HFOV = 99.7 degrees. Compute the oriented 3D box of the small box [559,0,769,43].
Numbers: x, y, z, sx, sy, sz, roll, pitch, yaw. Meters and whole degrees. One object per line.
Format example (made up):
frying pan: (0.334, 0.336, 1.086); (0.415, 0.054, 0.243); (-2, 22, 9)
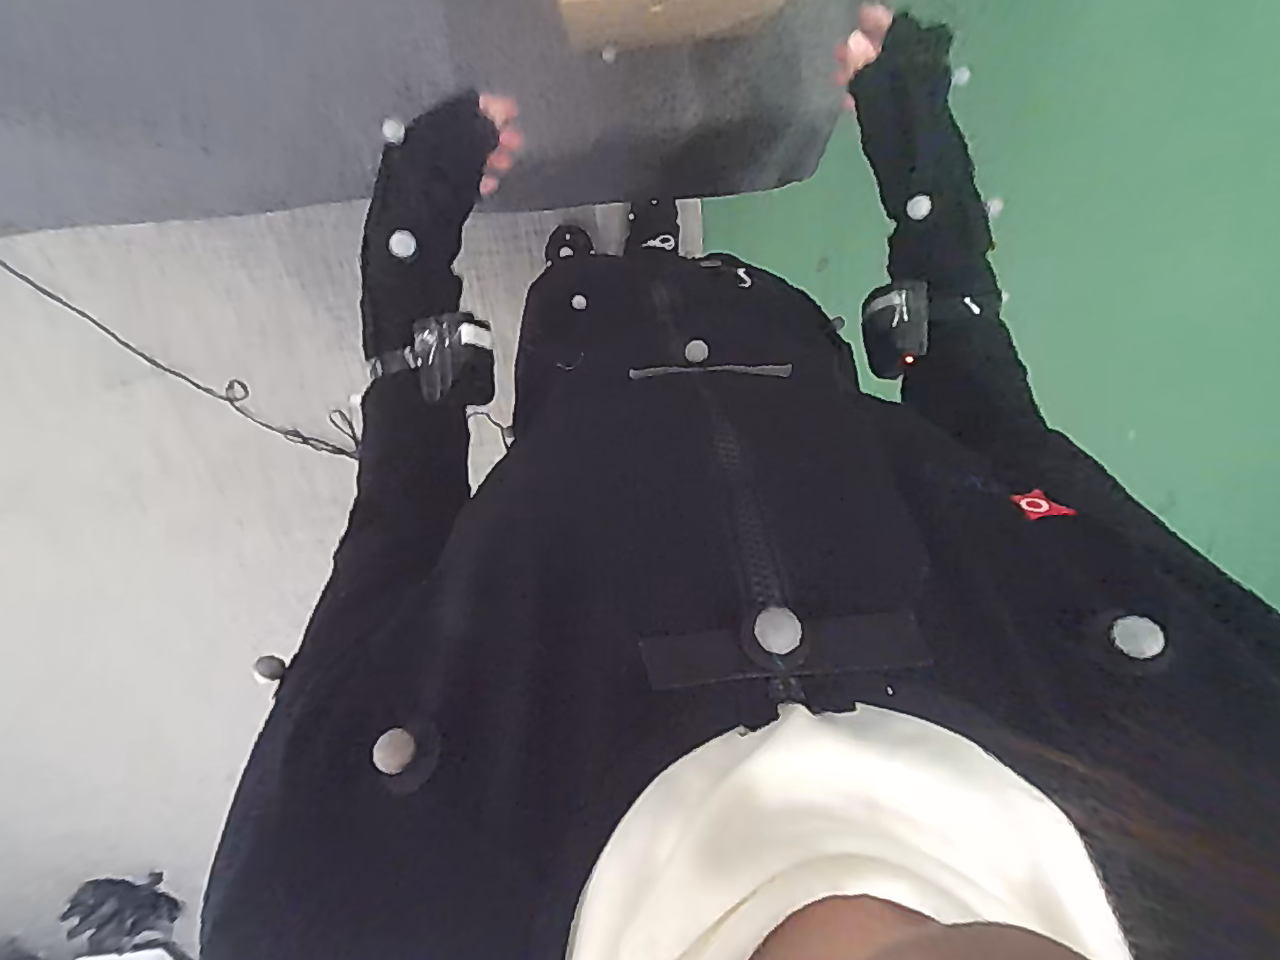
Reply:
small box: (0.017, -0.433, 0.379); (0.168, 0.176, 0.179); (-6, 118, 0)
